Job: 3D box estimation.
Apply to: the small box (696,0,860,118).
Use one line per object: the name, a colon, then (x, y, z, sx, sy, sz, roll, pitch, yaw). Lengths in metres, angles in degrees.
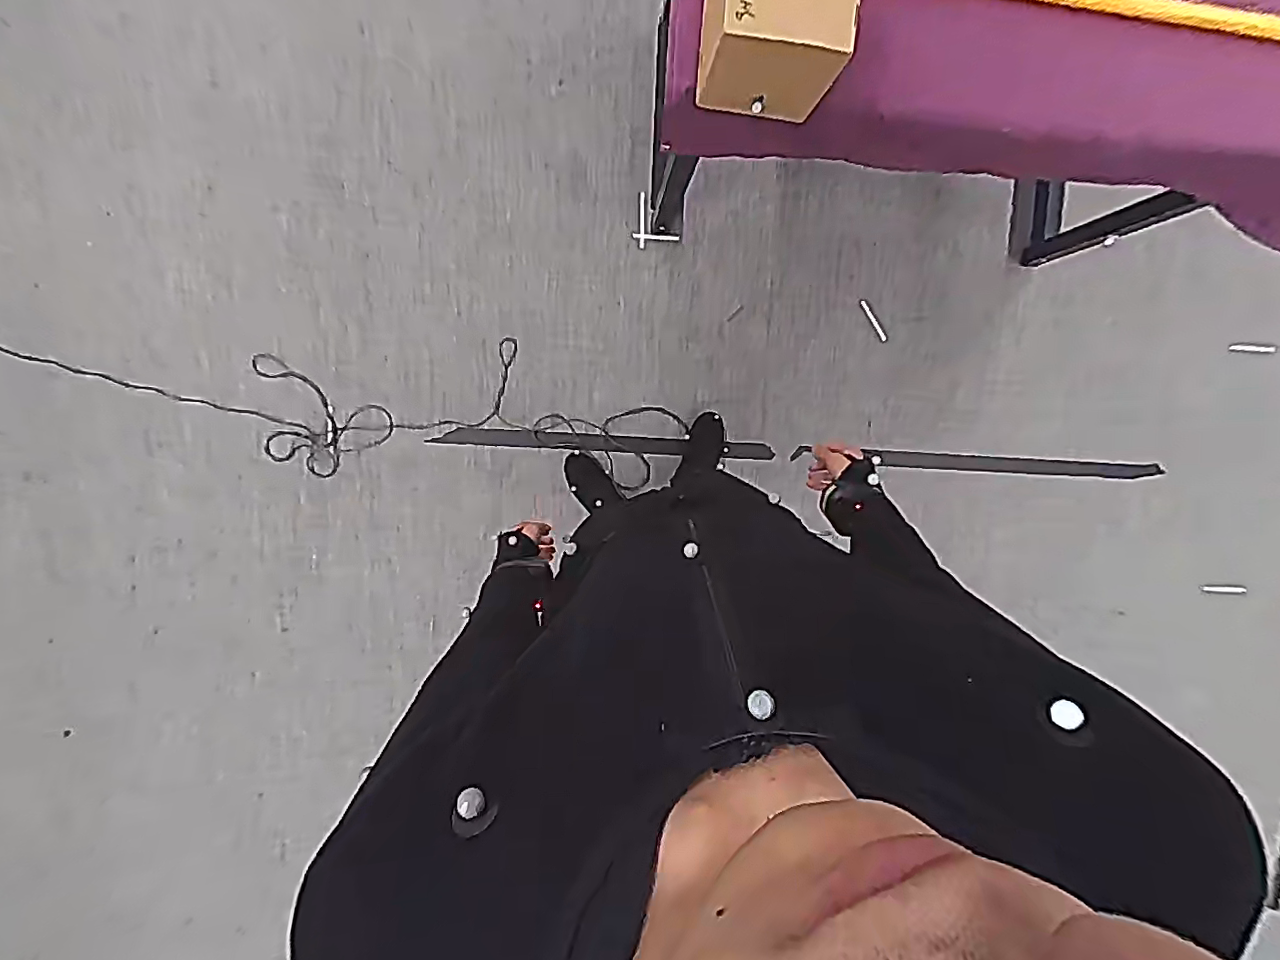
small box: (0.187, -0.639, 0.752, 0.179, 0.176, 0.168, 4, 96, -7)
